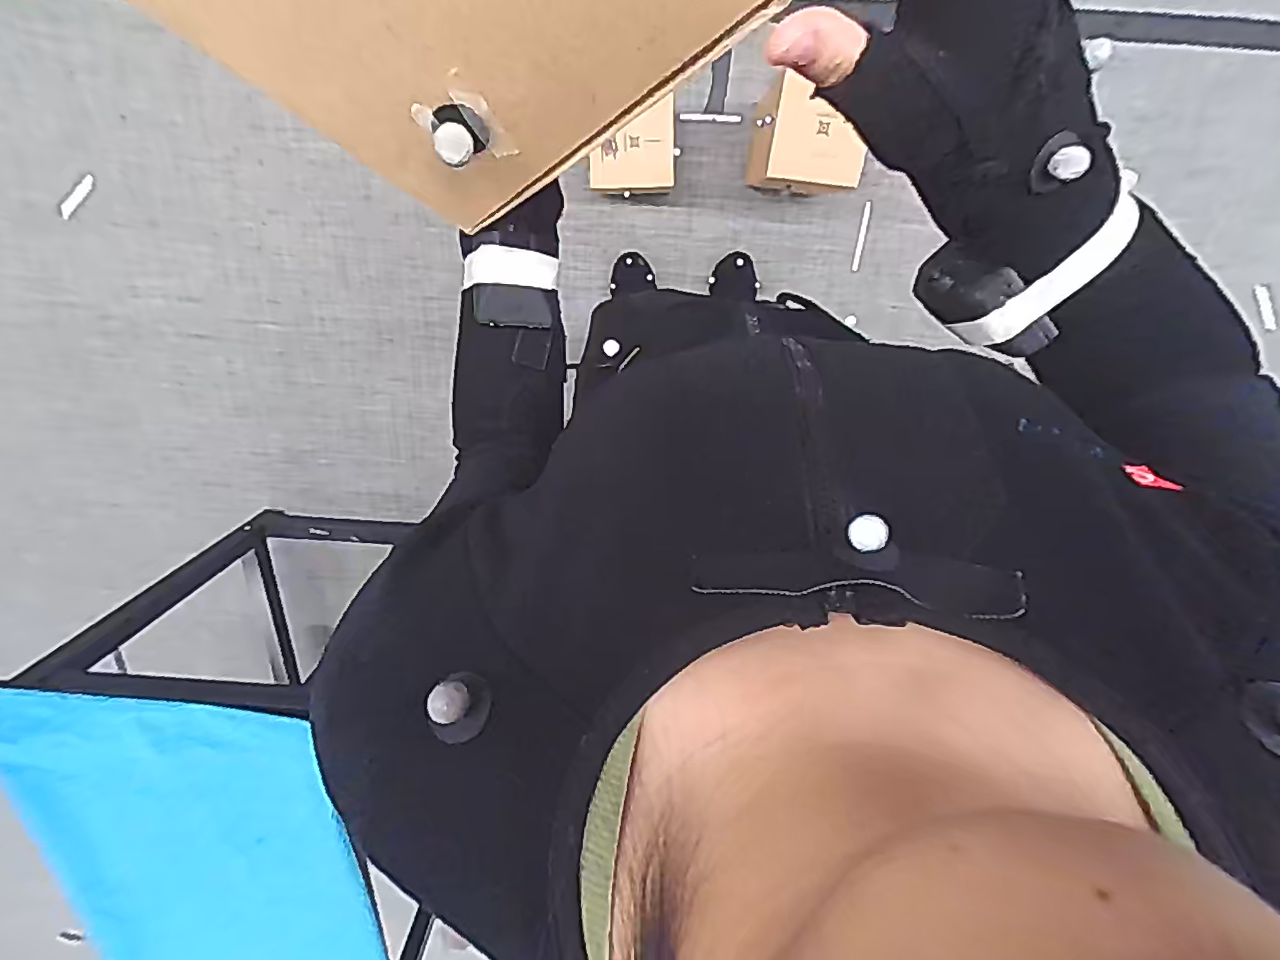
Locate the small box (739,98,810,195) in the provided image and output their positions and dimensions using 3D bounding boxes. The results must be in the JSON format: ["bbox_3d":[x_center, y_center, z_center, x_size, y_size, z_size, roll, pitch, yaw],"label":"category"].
[{"bbox_3d":[0.324,-0.715,1.155,0.179,0.176,0.168,7,113,-3],"label":"small box"}]

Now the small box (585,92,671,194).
[{"bbox_3d":[-0.023,-0.715,1.163,0.179,0.176,0.168,-1,114,1],"label":"small box"}]

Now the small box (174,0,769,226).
[{"bbox_3d":[-0.071,-0.241,0.190,0.179,0.168,0.176,-17,158,34],"label":"small box"}]

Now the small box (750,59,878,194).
[{"bbox_3d":[0.311,-0.646,1.008,0.168,0.176,0.179,8,115,-1],"label":"small box"}]
